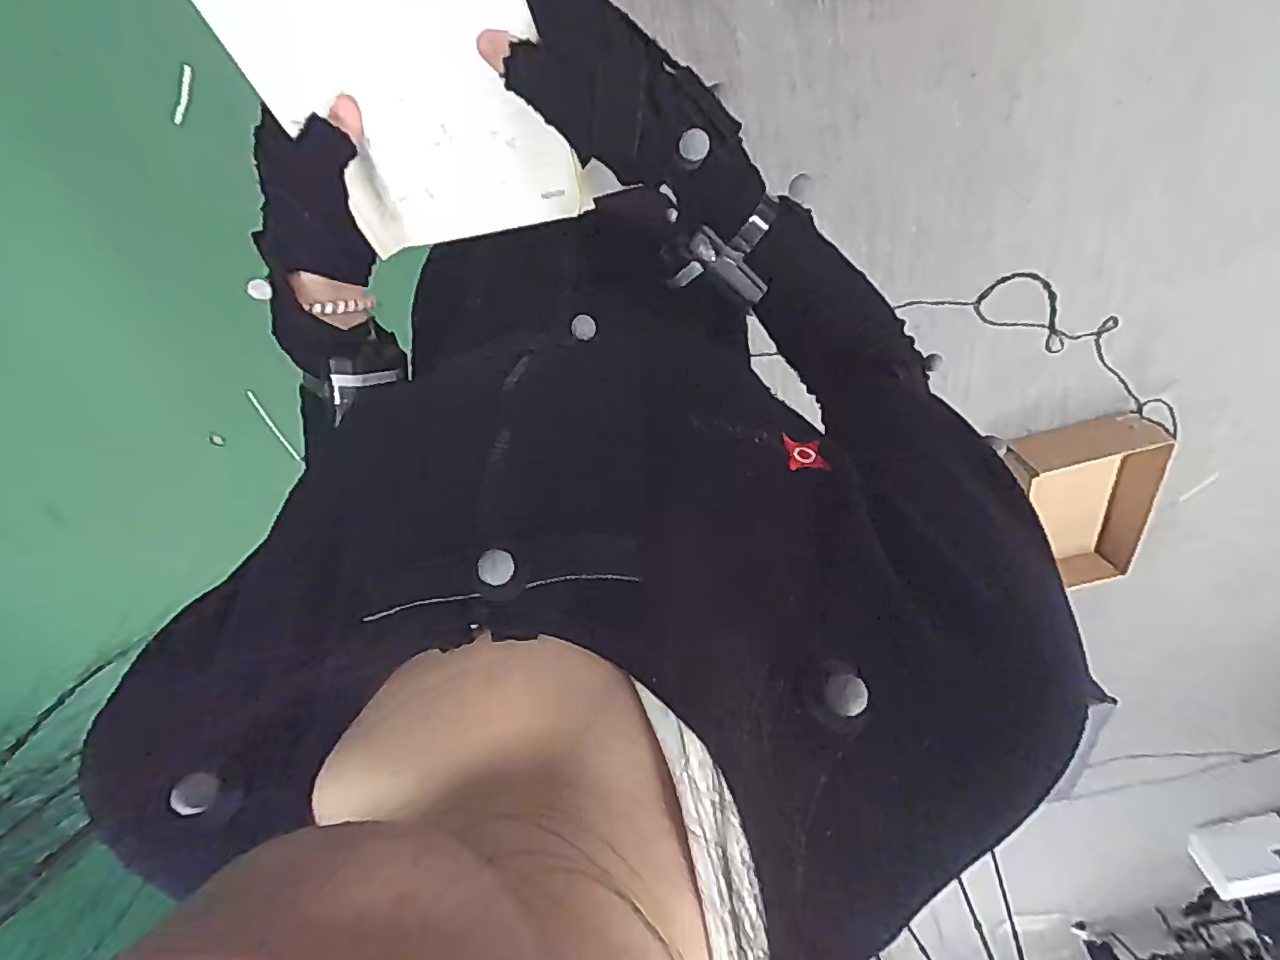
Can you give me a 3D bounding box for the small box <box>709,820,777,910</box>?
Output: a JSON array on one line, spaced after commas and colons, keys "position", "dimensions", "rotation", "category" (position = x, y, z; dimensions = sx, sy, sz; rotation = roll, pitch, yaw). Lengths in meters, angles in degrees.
[{"position": [0.304, 1.137, 1.601], "dimensions": [0.168, 0.176, 0.179], "rotation": [-11, 126, 3], "category": "small box"}]
